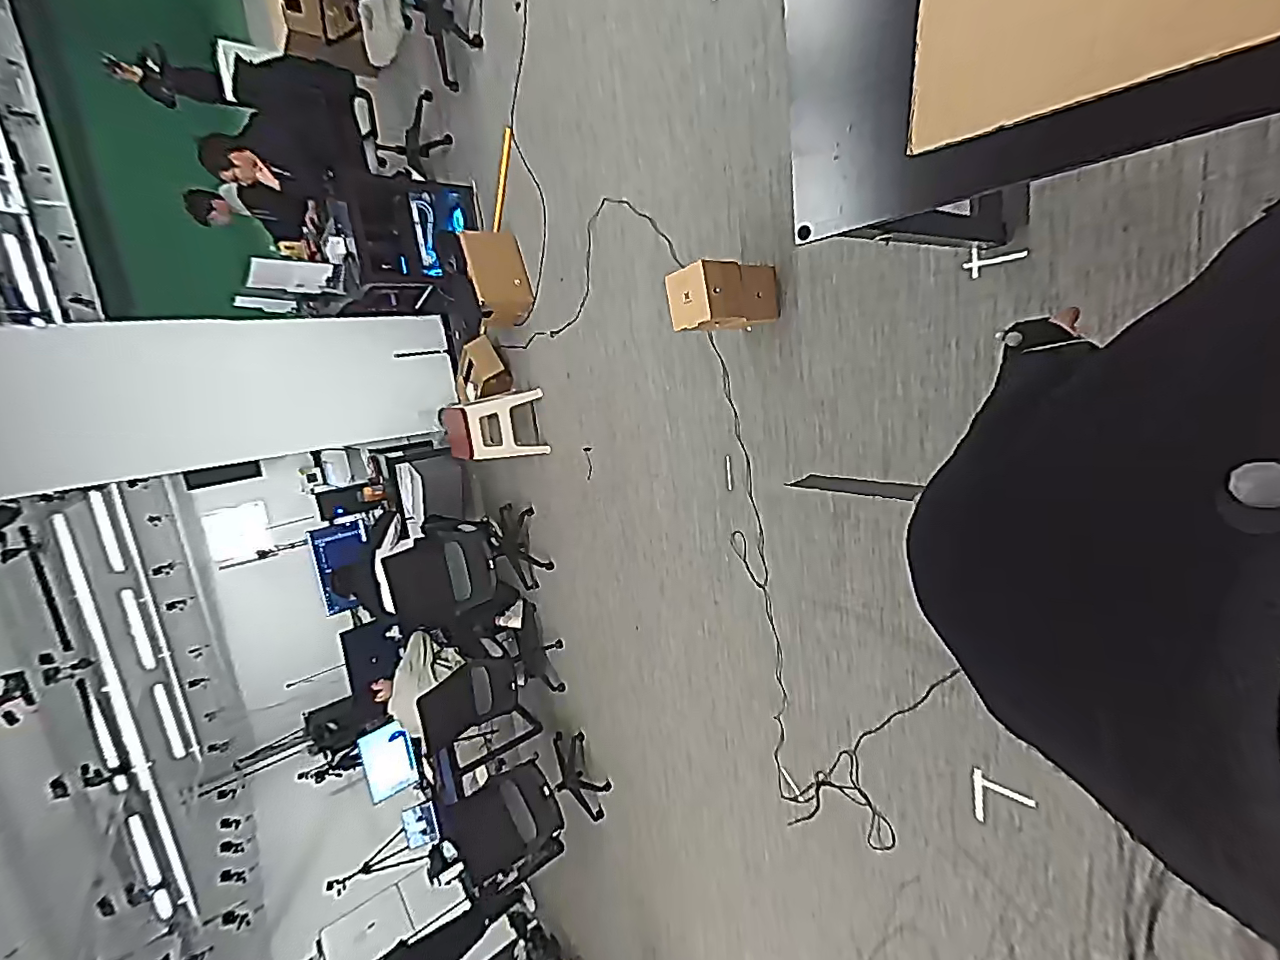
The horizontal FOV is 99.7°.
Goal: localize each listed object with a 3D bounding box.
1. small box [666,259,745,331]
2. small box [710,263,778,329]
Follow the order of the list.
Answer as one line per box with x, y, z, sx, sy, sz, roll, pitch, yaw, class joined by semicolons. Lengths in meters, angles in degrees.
0.208;-0.574;1.686;0.168;0.176;0.179;-3;99;52;small box
0.336;-0.602;1.783;0.168;0.176;0.179;3;105;52;small box
